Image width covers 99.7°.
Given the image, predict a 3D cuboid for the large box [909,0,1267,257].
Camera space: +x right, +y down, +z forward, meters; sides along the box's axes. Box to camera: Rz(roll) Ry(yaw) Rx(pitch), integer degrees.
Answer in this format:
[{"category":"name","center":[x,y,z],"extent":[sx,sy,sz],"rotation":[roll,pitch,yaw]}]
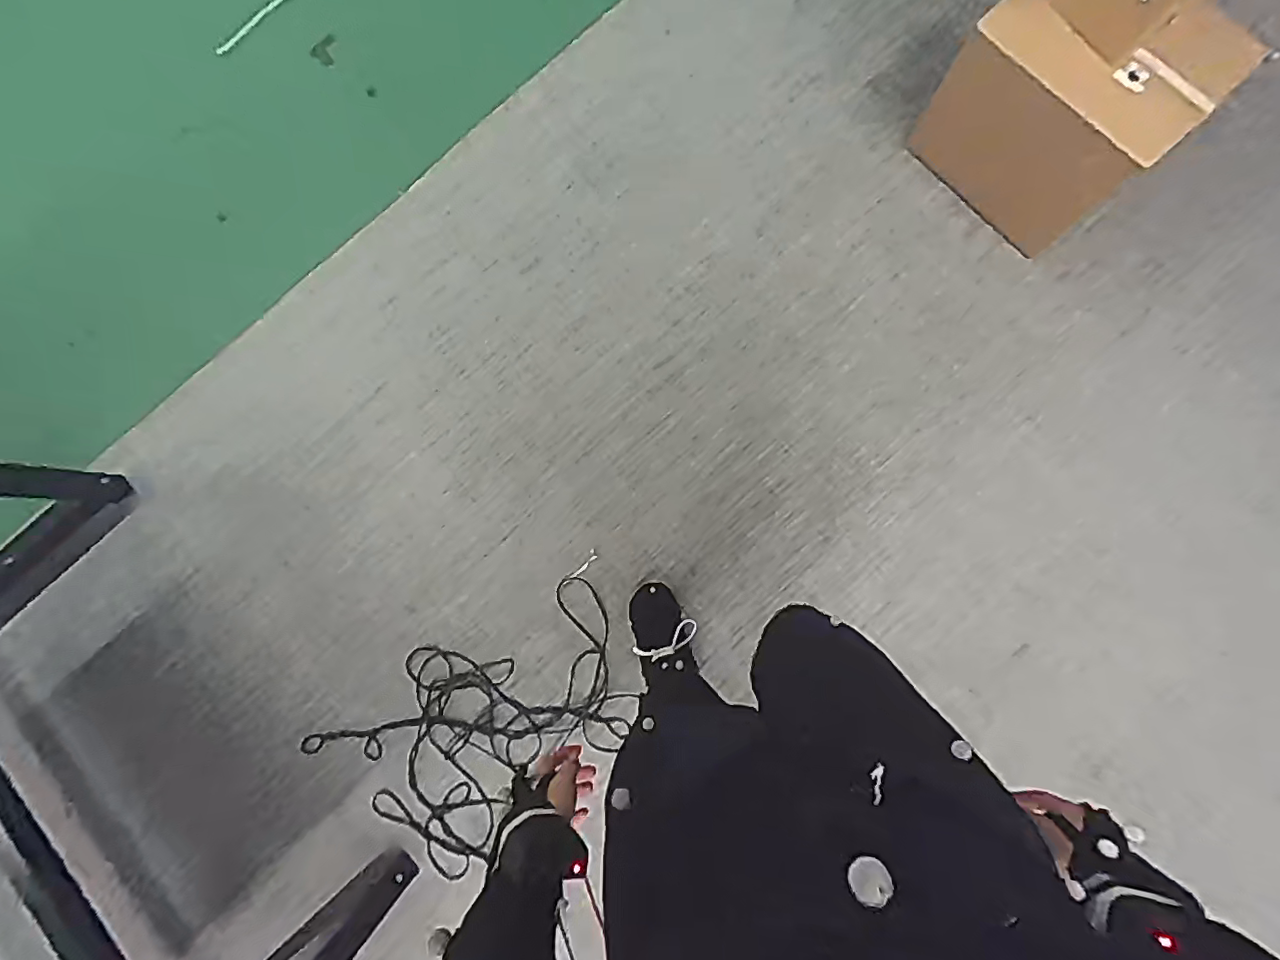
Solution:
[{"category":"large box","center":[0.865,-0.763,1.113],"extent":[0.320,0.320,0.408],"rotation":[-43,84,0]}]
